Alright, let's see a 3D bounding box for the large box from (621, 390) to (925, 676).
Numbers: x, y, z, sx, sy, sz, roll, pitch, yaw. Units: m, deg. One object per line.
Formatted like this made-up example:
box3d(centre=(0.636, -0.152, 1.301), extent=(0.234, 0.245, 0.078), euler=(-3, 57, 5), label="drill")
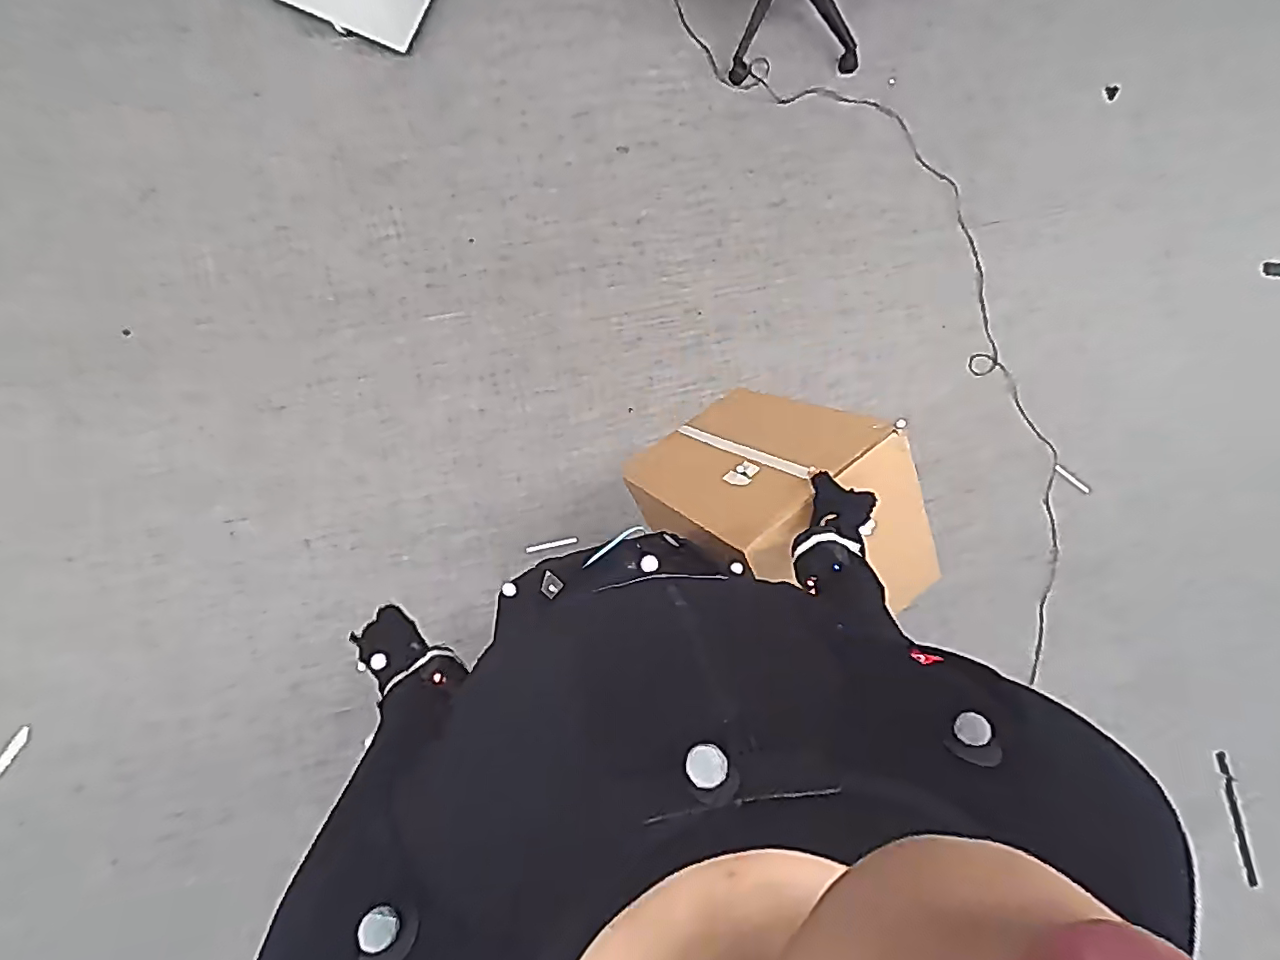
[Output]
box3d(centre=(0.231, 0.068, 0.997), extent=(0.320, 0.408, 0.320), euler=(-37, 120, -13), label="large box")
